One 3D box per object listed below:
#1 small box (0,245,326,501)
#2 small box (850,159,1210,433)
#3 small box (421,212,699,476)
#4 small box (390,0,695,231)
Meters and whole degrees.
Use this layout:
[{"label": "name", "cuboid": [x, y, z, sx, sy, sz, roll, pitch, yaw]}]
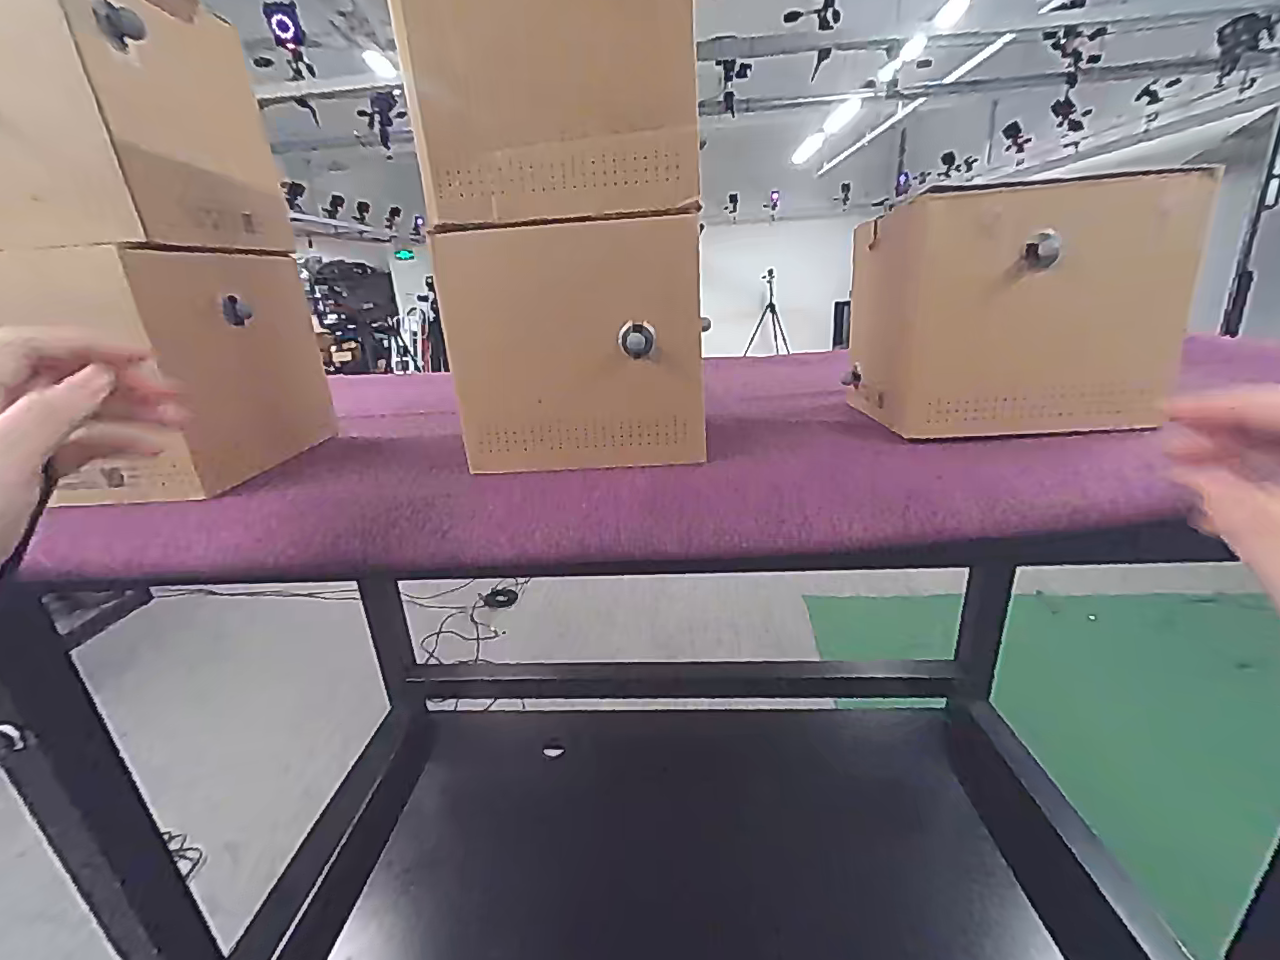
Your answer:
[{"label": "small box", "cuboid": [-0.386, -0.087, 0.429, 0.168, 0.176, 0.179, -2, 21, 2]}, {"label": "small box", "cuboid": [0.279, -0.136, 0.436, 0.179, 0.176, 0.168, -2, 18, 6]}, {"label": "small box", "cuboid": [-0.044, -0.109, 0.436, 0.179, 0.176, 0.168, -4, 20, 3]}, {"label": "small box", "cuboid": [-0.057, -0.263, 0.384, 0.179, 0.176, 0.168, -3, 20, 1]}]
